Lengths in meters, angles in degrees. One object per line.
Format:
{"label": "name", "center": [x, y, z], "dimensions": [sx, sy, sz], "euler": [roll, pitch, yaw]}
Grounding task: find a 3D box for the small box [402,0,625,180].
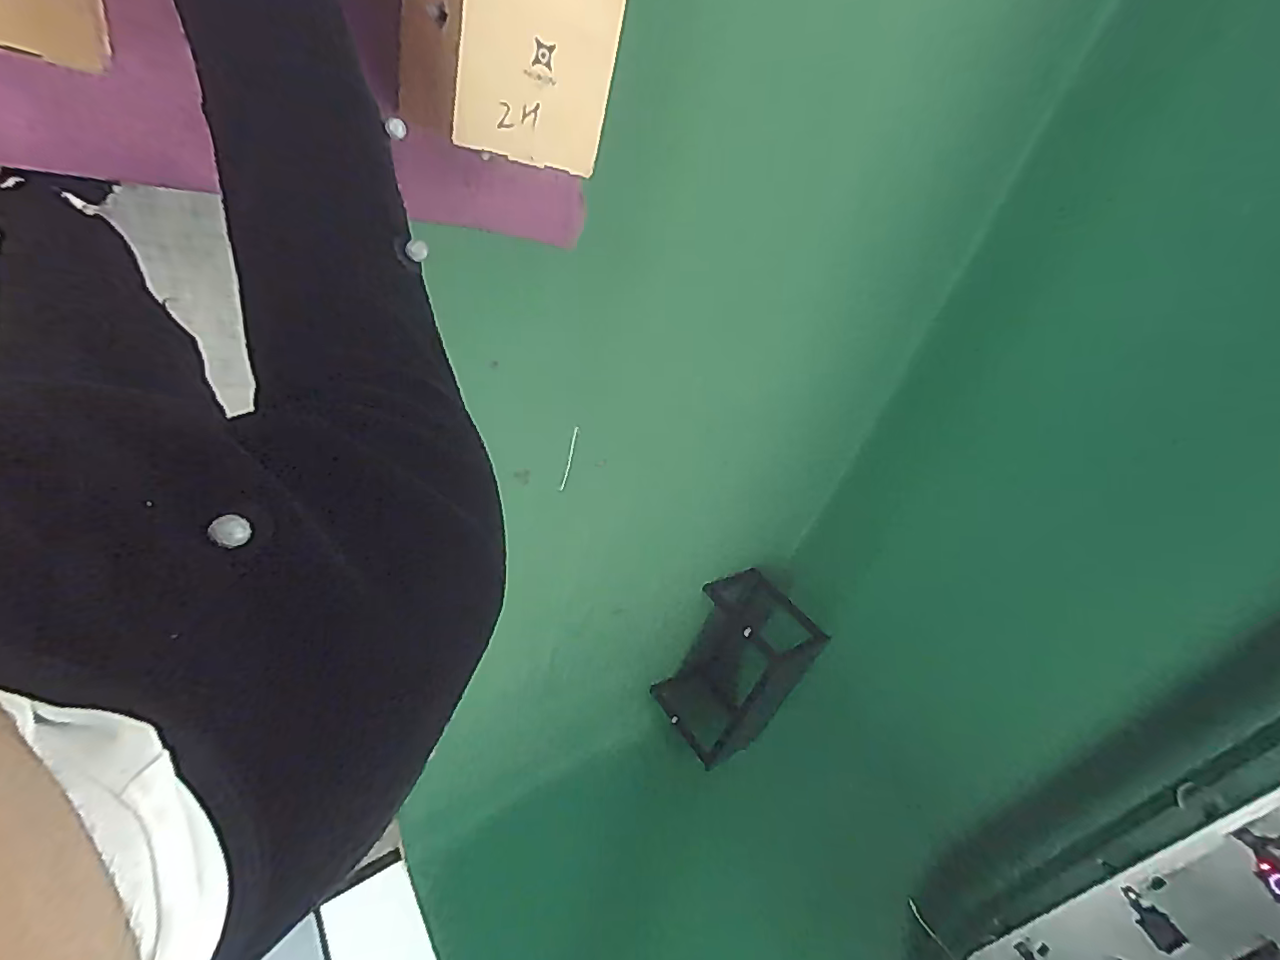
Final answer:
{"label": "small box", "center": [-0.145, -0.451, 0.580], "dimensions": [0.168, 0.176, 0.179], "euler": [-9, 130, -38]}
